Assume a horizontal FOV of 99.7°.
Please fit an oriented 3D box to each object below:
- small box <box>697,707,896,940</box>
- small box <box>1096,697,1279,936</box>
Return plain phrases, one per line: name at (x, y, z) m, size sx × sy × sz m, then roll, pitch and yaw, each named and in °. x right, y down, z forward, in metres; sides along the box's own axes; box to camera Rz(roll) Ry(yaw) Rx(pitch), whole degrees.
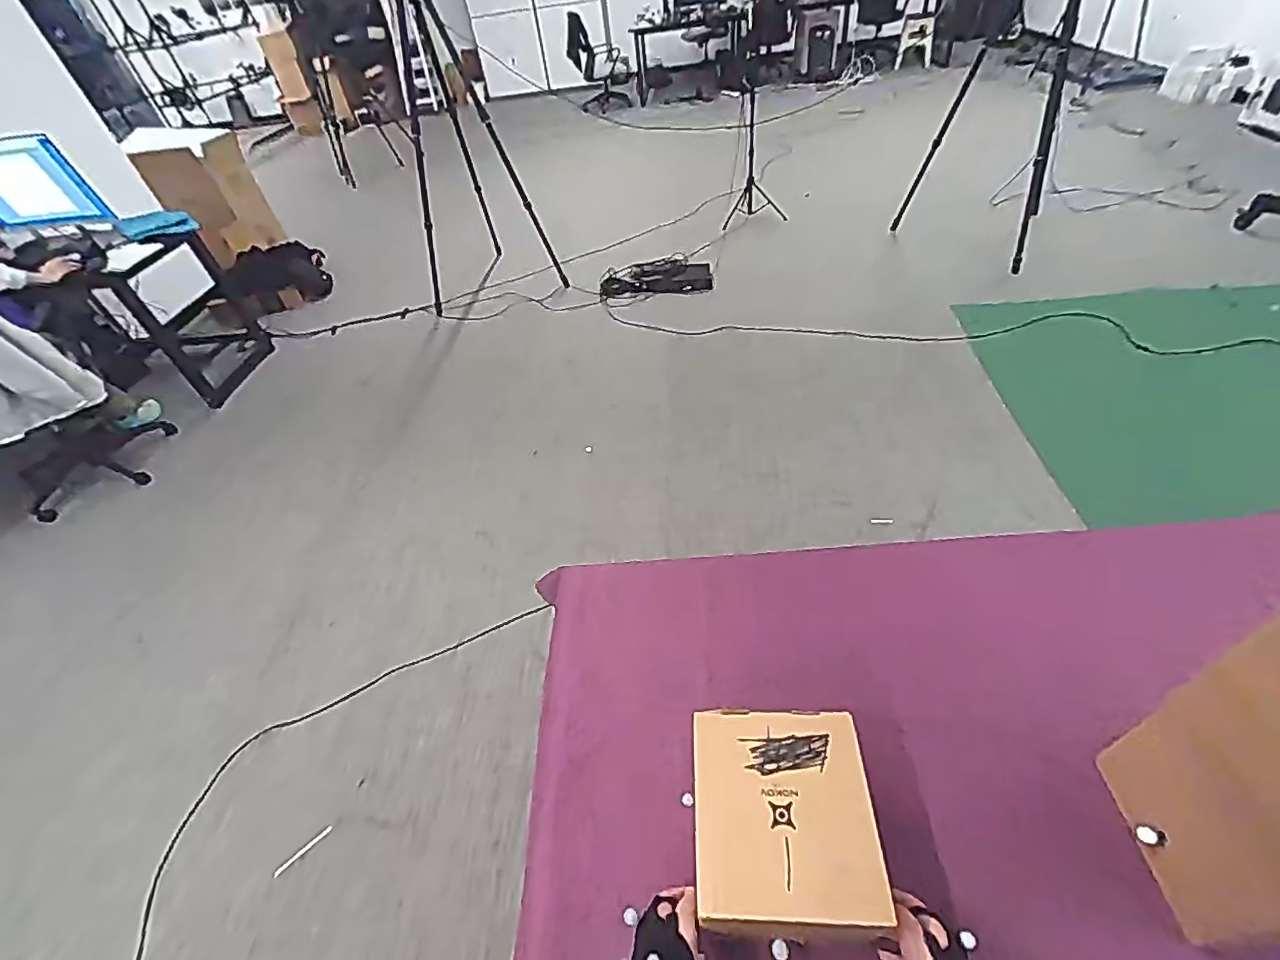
small box at (0.144, 0.359, 0.569) m, size 0.168 × 0.176 × 0.179 m, roll -3°, pitch 46°, yaw 7°
small box at (0.608, 0.327, 0.524) m, size 0.168 × 0.176 × 0.179 m, roll -3°, pitch 46°, yaw 6°
